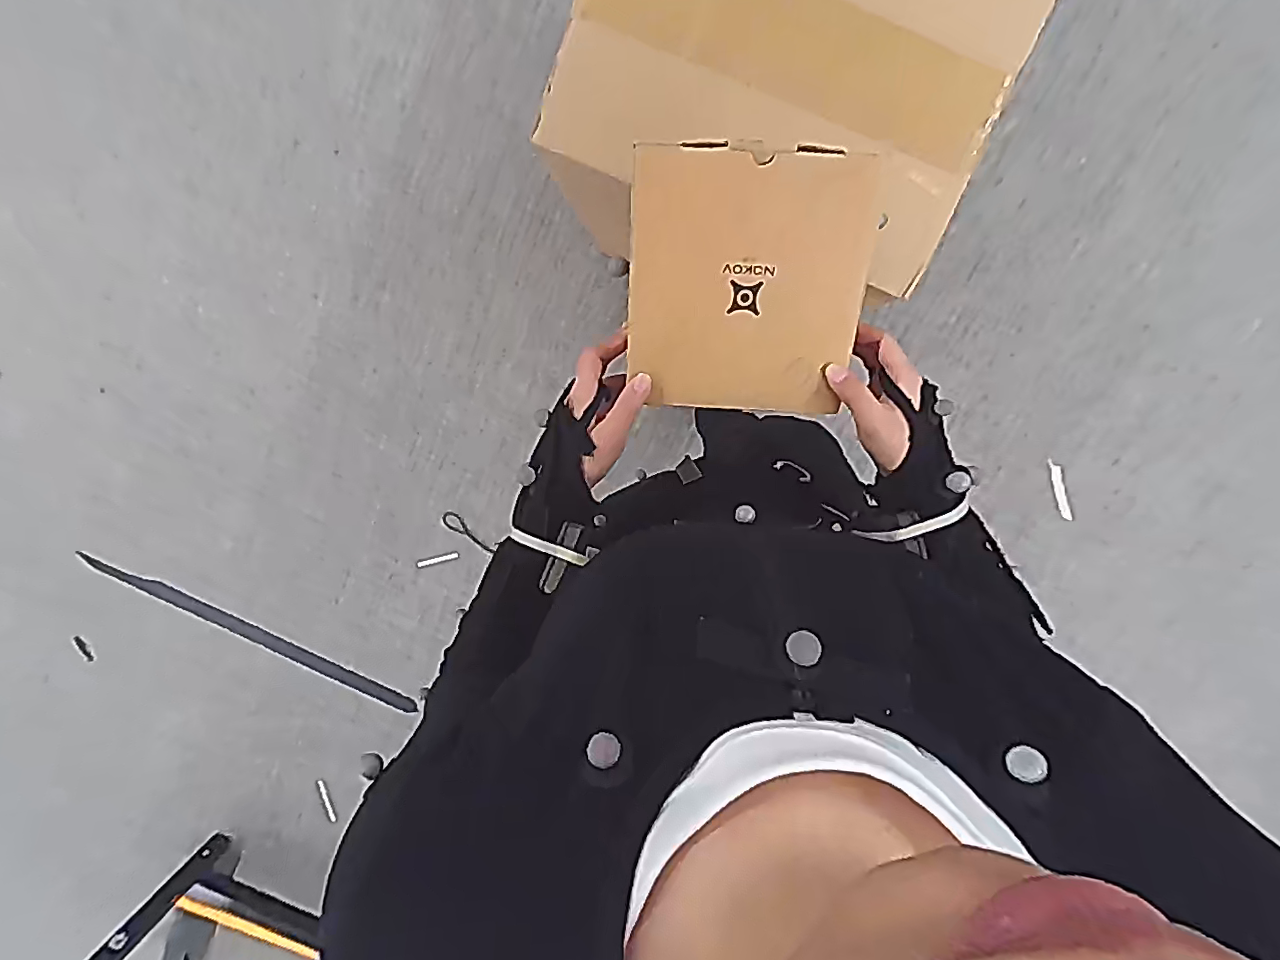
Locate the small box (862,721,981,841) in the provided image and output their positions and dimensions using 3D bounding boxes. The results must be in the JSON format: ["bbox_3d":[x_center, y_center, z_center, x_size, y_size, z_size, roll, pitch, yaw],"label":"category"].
[{"bbox_3d":[0.704,0.755,1.375,0.179,0.176,0.168,32,99,-1],"label":"small box"}]

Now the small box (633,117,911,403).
[{"bbox_3d":[0.085,-0.175,0.439,0.168,0.176,0.179,3,116,1],"label":"small box"}]
